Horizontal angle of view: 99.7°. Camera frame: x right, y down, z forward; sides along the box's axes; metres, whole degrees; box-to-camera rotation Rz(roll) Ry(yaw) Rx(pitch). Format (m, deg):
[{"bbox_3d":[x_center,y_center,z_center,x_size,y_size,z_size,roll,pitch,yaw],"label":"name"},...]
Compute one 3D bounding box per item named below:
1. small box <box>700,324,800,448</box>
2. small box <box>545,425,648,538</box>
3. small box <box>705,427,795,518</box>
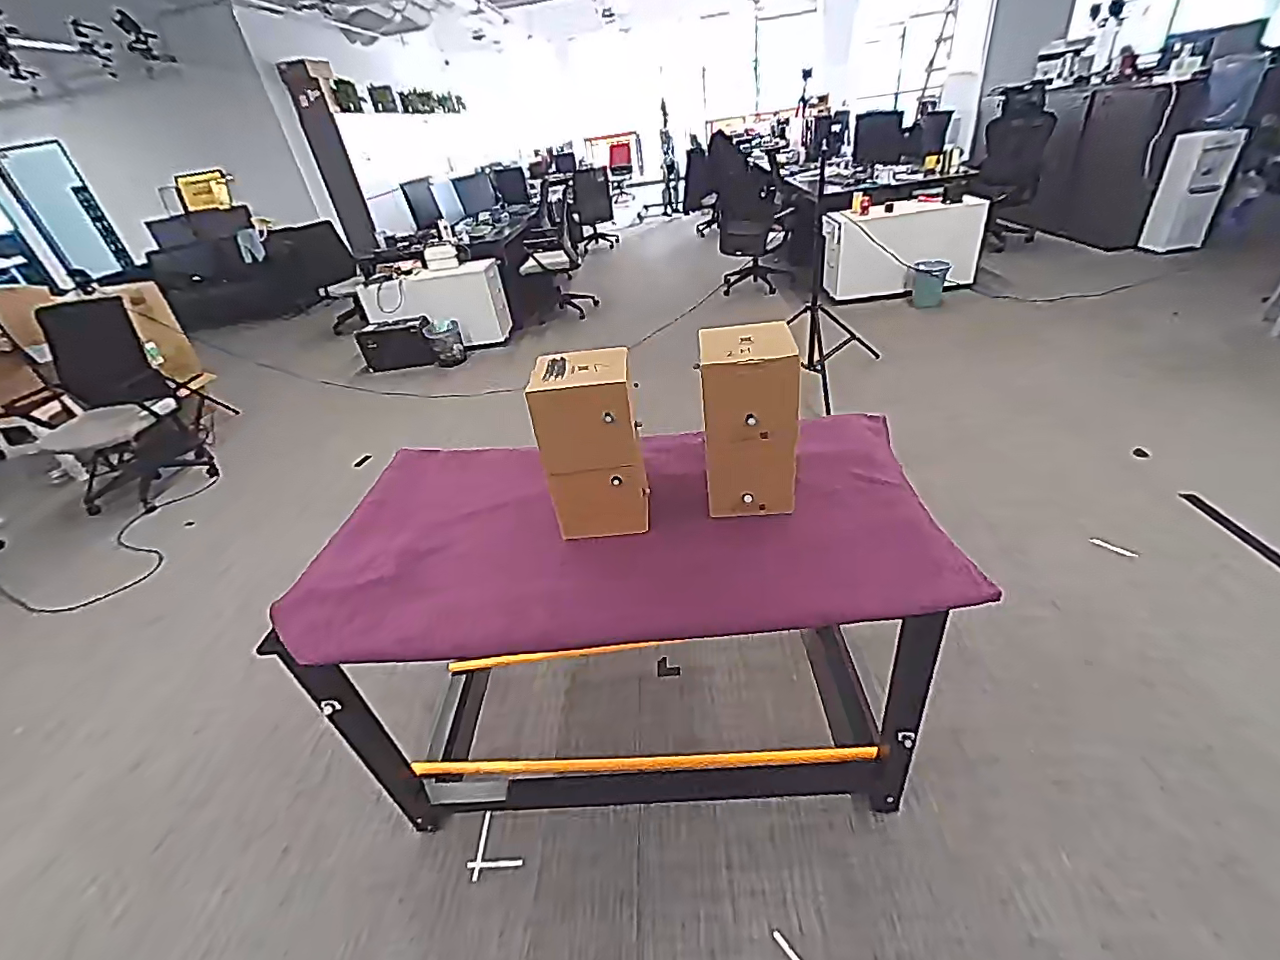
[{"bbox_3d":[0.200,-0.177,1.013,0.168,0.176,0.179,-5,34,8],"label":"small box"},{"bbox_3d":[-0.081,0.005,1.110,0.179,0.176,0.168,-5,33,4],"label":"small box"},{"bbox_3d":[0.218,-0.042,1.105,0.168,0.176,0.179,-4,35,8],"label":"small box"}]
